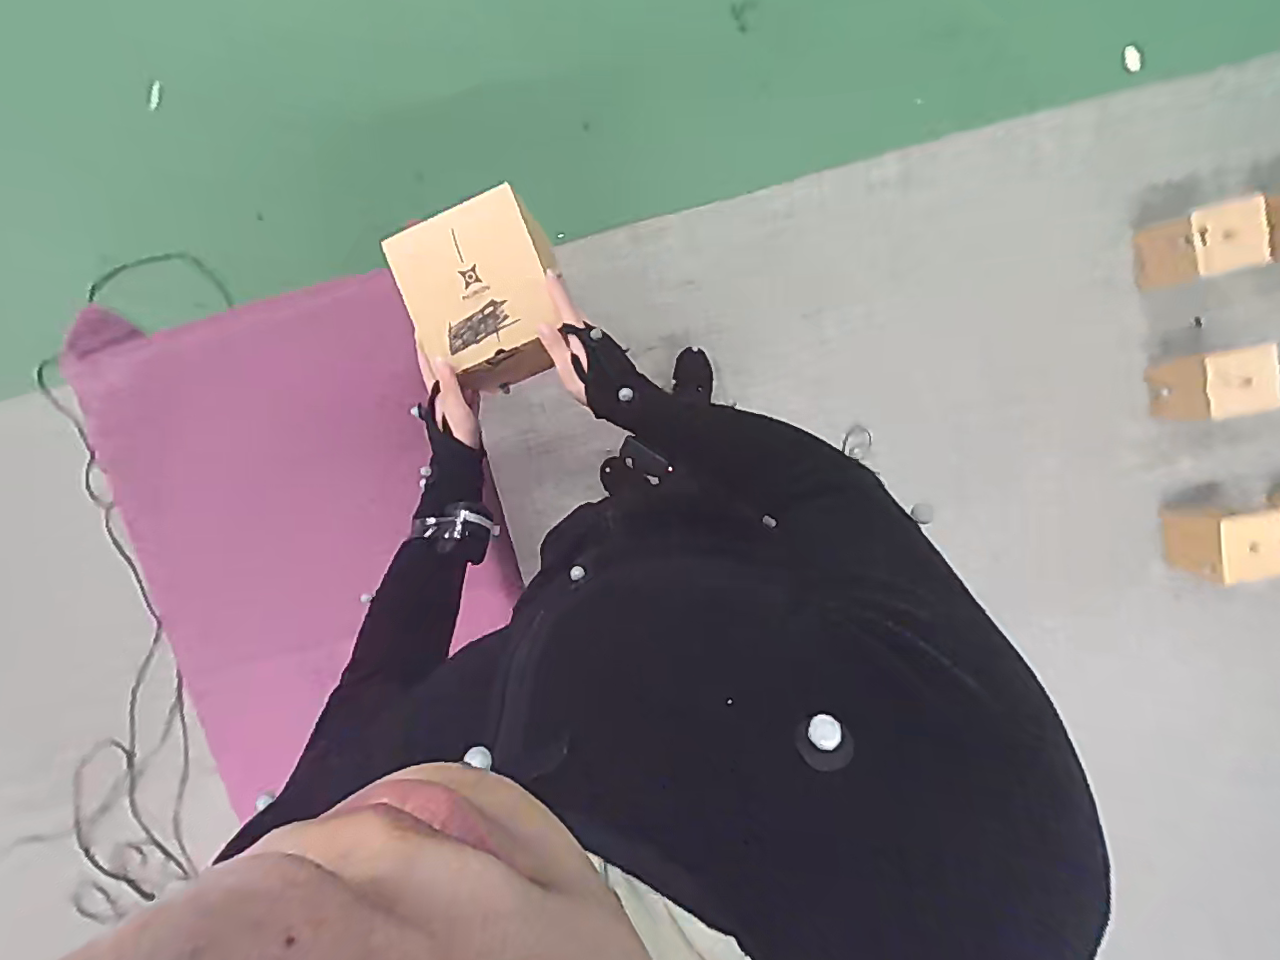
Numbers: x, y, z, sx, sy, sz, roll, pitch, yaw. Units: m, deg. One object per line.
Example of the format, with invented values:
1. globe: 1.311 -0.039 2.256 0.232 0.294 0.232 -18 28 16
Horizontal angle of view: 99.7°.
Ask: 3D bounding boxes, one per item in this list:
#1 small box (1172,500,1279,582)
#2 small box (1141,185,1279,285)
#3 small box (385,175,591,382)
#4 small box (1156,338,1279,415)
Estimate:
1. small box: 1.604 0.156 1.466 0.168 0.176 0.179 -12 97 4
2. small box: 1.442 -0.615 1.375 0.179 0.176 0.168 -13 96 3
3. small box: -0.174 -0.231 0.678 0.168 0.176 0.179 -21 92 7
4. small box: 1.520 -0.268 1.415 0.179 0.176 0.168 -12 96 4
